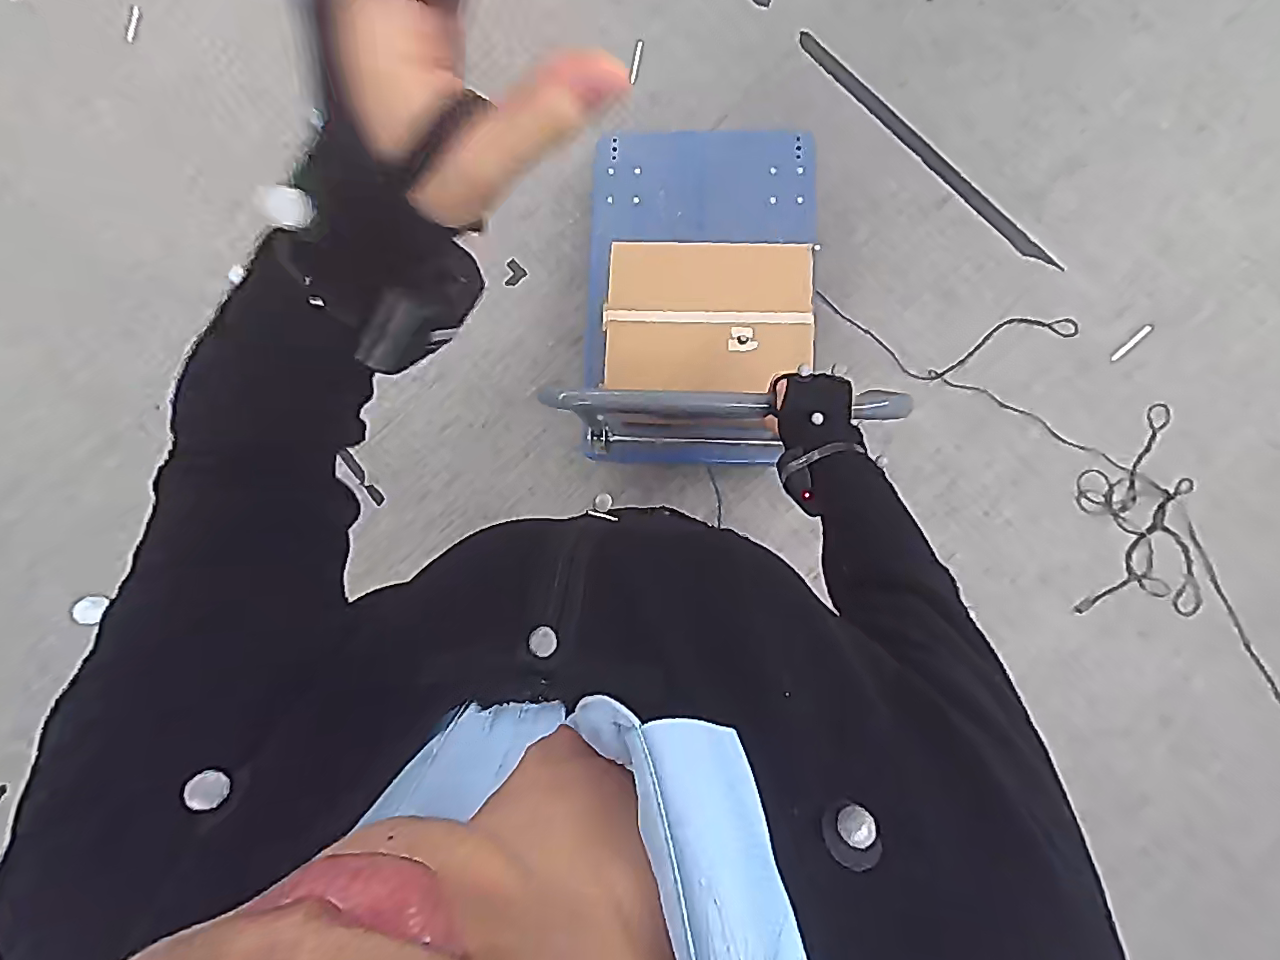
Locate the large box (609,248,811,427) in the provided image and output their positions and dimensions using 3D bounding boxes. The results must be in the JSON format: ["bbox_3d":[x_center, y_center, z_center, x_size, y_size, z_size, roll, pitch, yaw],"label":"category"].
[{"bbox_3d":[0.142,-0.301,1.222,0.408,0.320,0.320,2,85,2],"label":"large box"}]
